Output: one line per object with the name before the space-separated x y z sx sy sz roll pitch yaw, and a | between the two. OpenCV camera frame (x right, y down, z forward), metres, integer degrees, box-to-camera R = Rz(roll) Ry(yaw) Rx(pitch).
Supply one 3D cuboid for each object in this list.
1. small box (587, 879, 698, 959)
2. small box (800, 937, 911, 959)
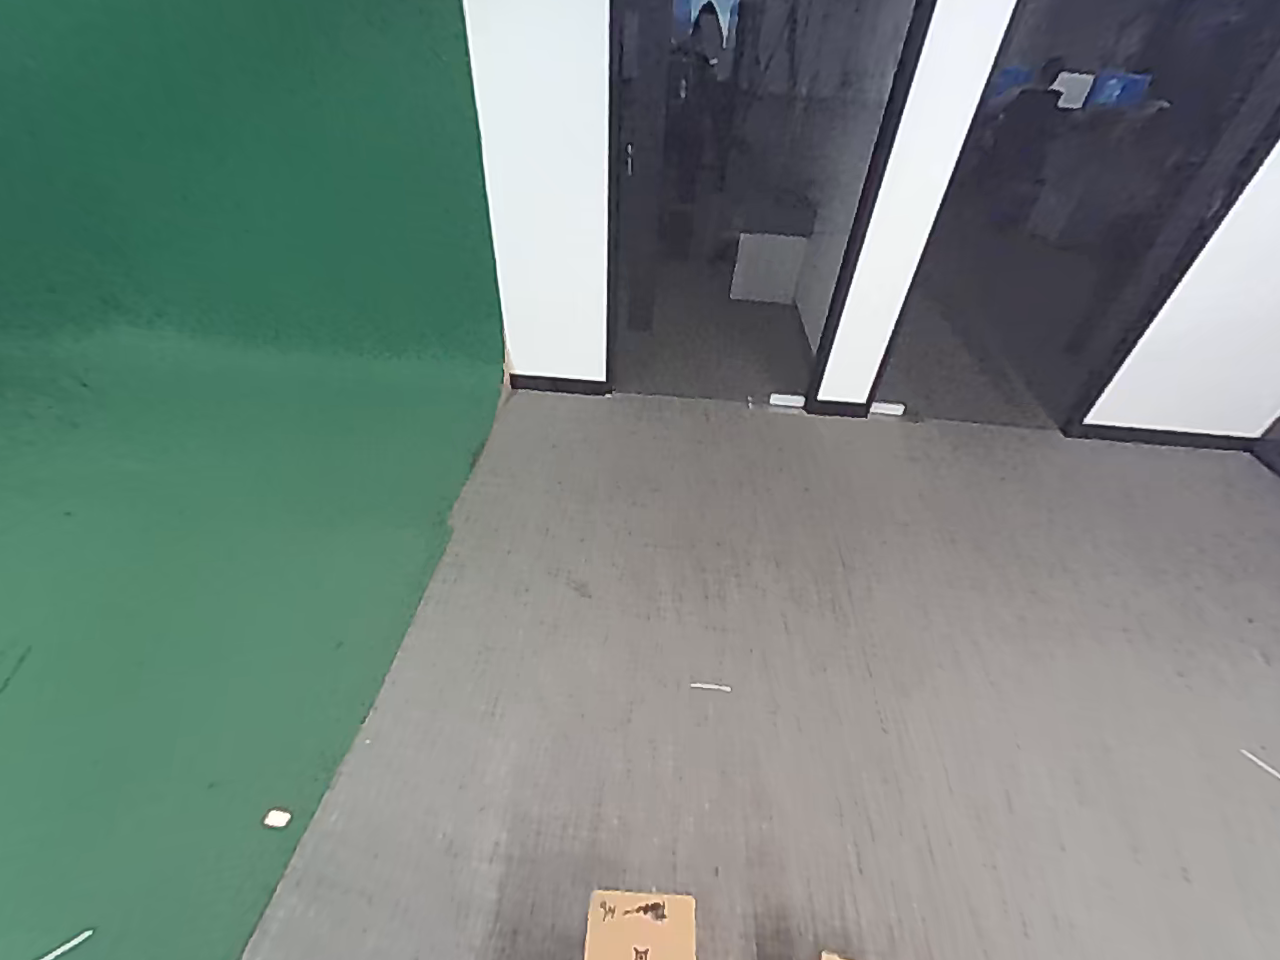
small box | 0.002 0.755 0.845 0.168 0.176 0.179 4 42 0
small box | 0.374 0.928 0.927 0.168 0.176 0.179 9 42 7
